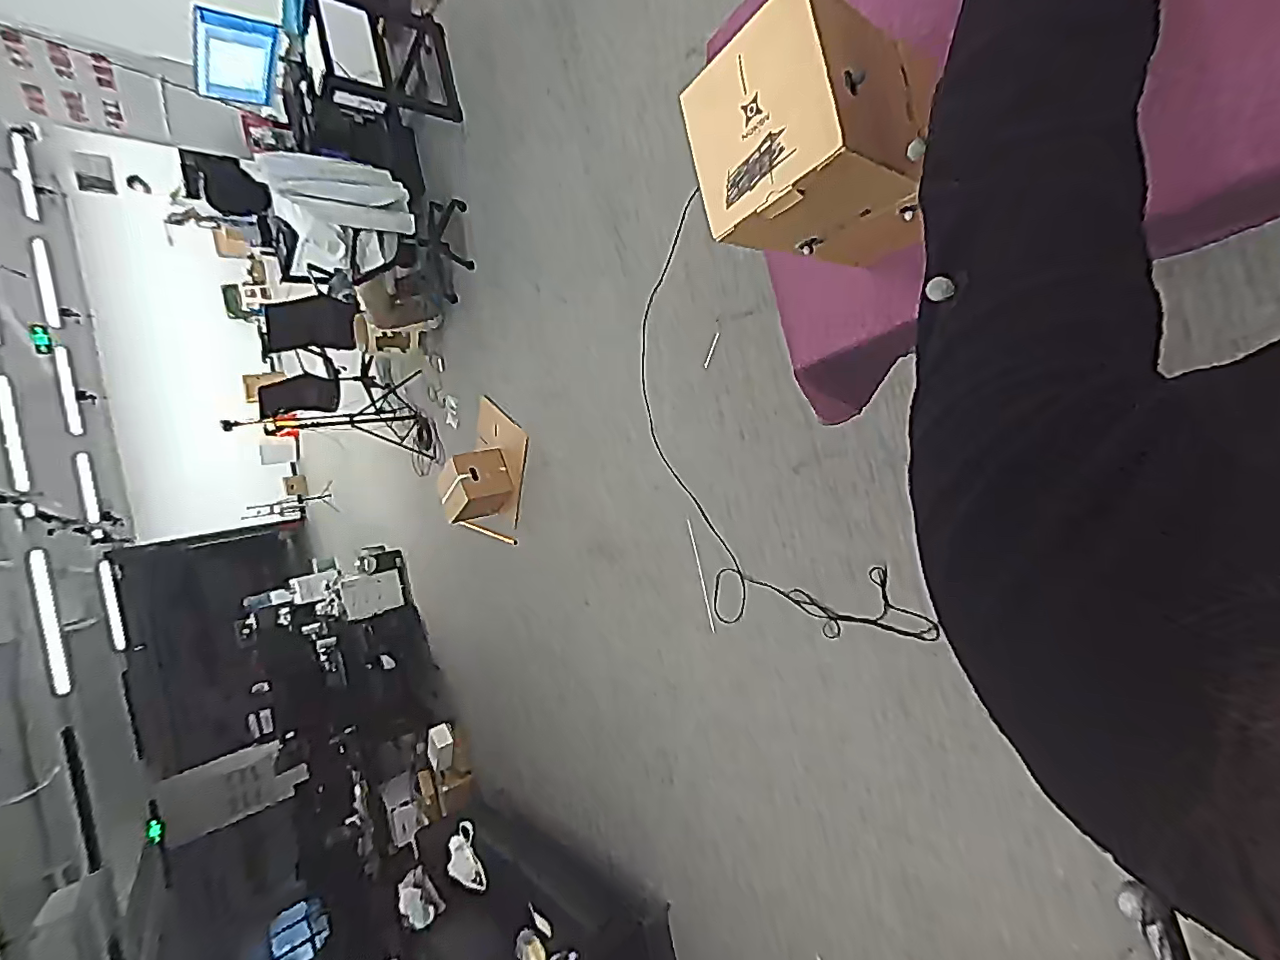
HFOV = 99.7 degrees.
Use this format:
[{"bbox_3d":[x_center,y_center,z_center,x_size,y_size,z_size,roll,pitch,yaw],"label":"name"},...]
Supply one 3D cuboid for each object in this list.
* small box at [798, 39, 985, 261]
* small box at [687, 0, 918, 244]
[{"bbox_3d":[0.311,-0.406,0.707,0.179,0.176,0.168,-15,87,51],"label":"small box"},{"bbox_3d":[0.183,-0.385,0.606,0.168,0.176,0.179,-16,85,51],"label":"small box"}]
